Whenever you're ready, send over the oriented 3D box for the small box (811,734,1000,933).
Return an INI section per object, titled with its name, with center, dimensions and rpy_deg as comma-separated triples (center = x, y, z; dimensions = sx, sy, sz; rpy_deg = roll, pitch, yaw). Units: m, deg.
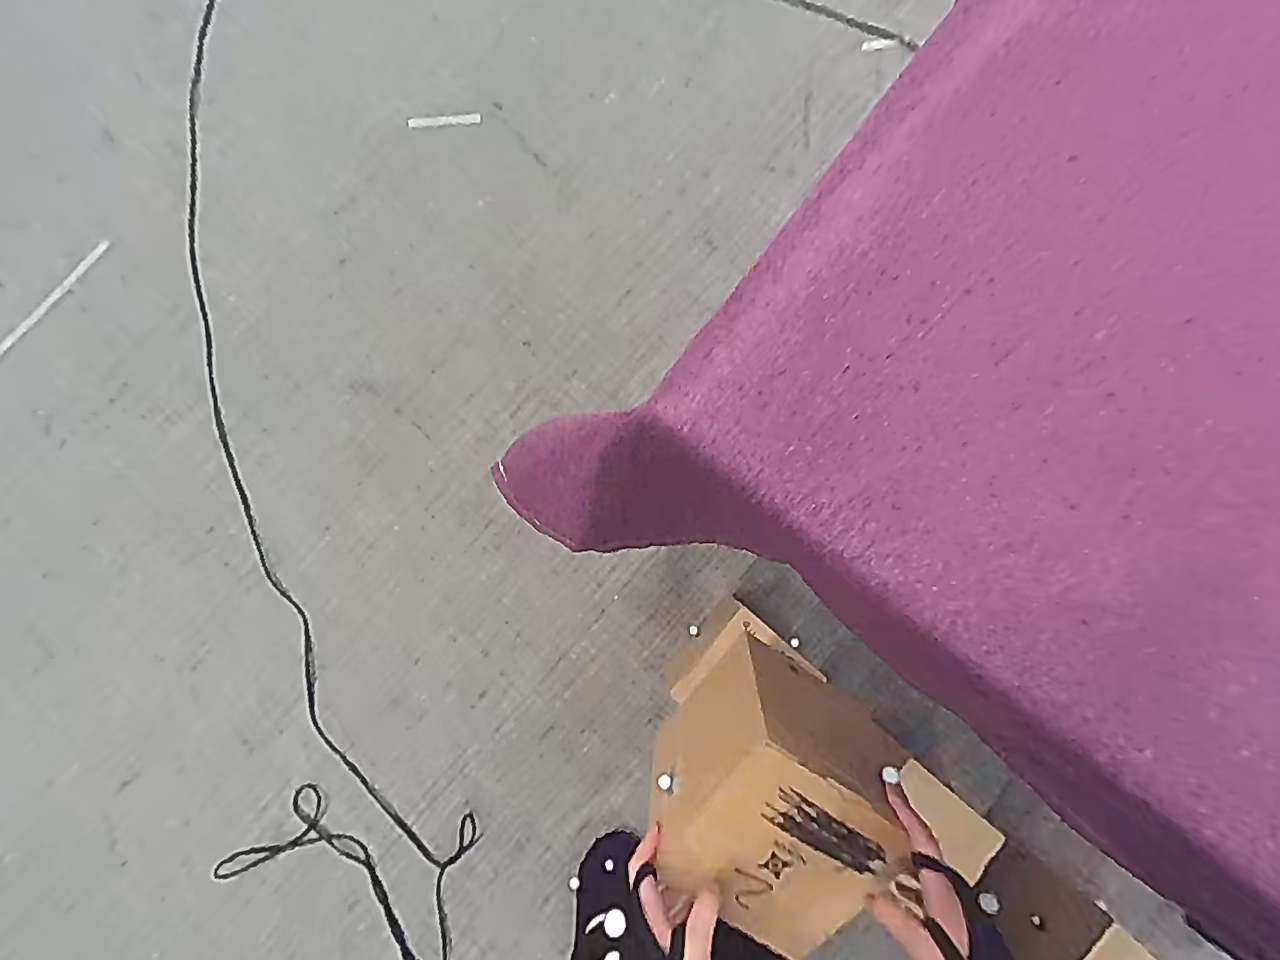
[small box]
center = 0.402, 0.535, 0.855
dimensions = 0.179, 0.176, 0.168
rpy_deg = 40, 87, 5
